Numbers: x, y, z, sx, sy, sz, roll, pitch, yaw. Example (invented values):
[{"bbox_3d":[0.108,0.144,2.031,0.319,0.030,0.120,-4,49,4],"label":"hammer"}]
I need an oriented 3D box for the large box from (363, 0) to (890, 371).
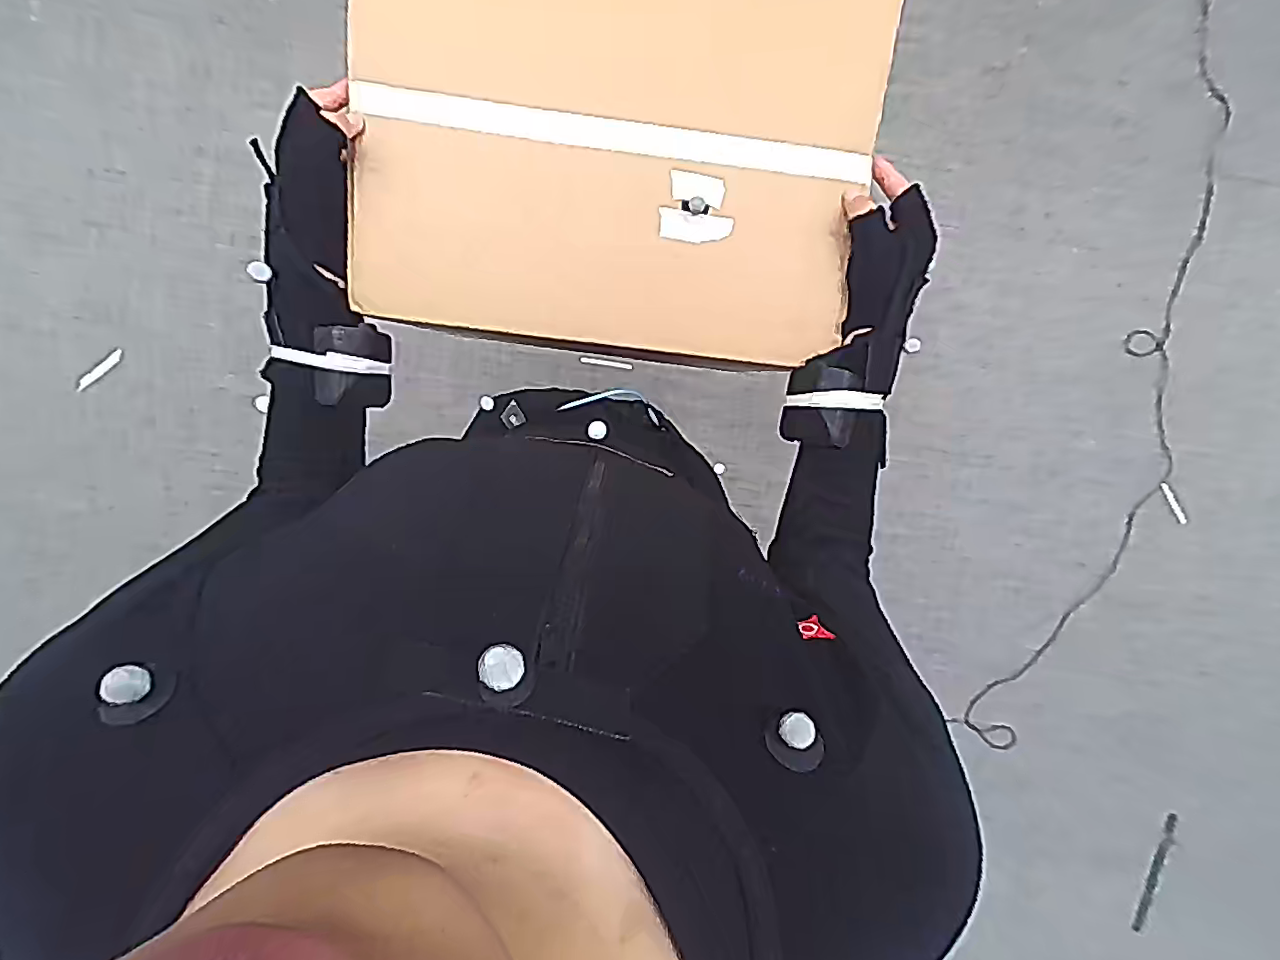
[{"bbox_3d":[-0.026,-0.292,0.578,0.408,0.320,0.320,6,102,-5],"label":"large box"}]
